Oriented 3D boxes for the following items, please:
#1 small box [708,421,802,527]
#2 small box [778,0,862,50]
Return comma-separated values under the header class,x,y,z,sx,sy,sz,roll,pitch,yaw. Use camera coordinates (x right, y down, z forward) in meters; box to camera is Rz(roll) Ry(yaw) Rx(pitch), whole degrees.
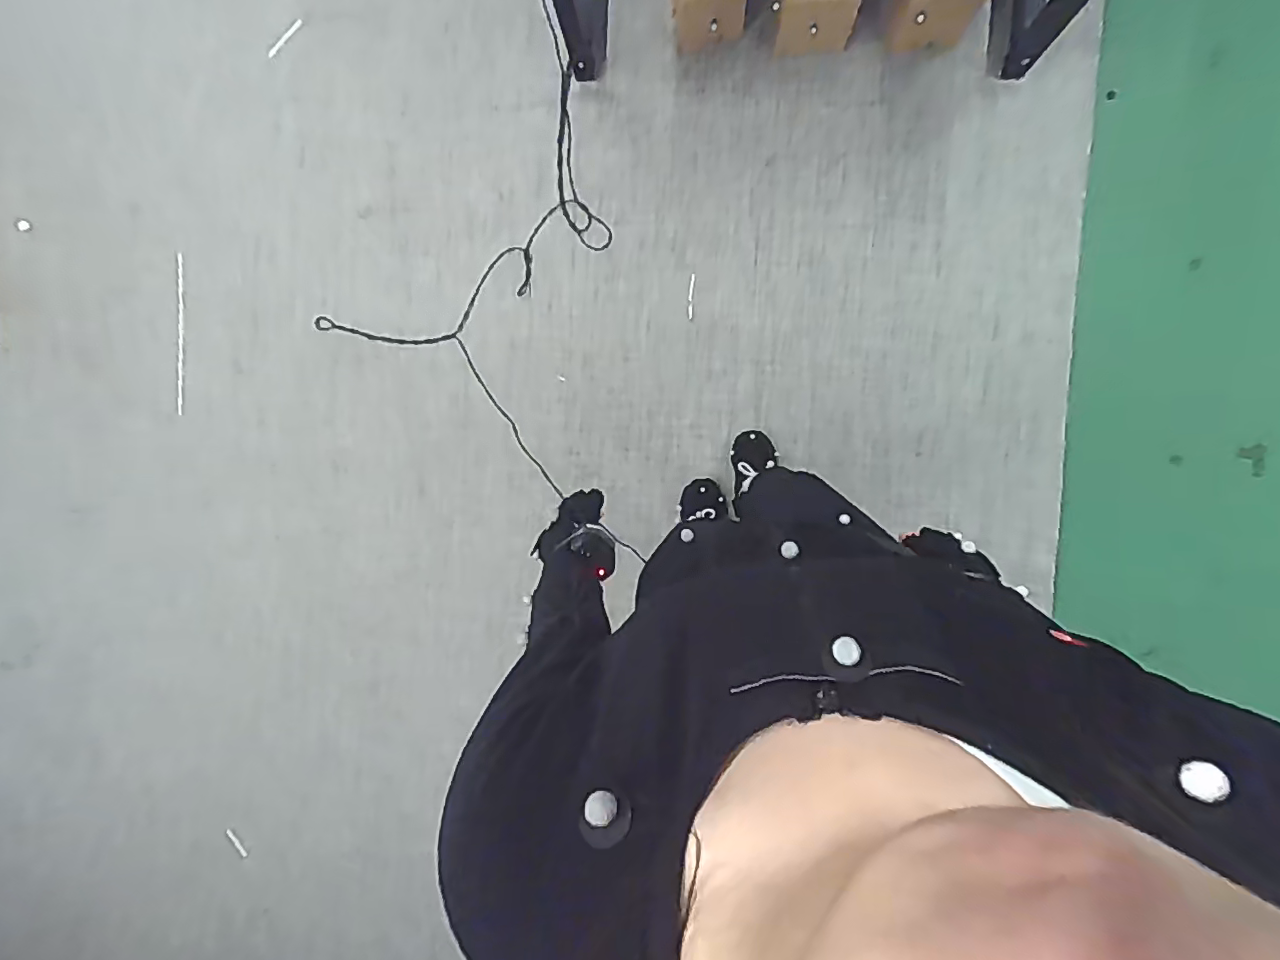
class,x,y,z,sx,sy,sz,roll,pitch,yaw
small box,0.294,-0.014,1.403,0.179,0.176,0.168,-43,58,-18
small box,0.446,-1.211,1.338,0.179,0.176,0.168,1,92,6
